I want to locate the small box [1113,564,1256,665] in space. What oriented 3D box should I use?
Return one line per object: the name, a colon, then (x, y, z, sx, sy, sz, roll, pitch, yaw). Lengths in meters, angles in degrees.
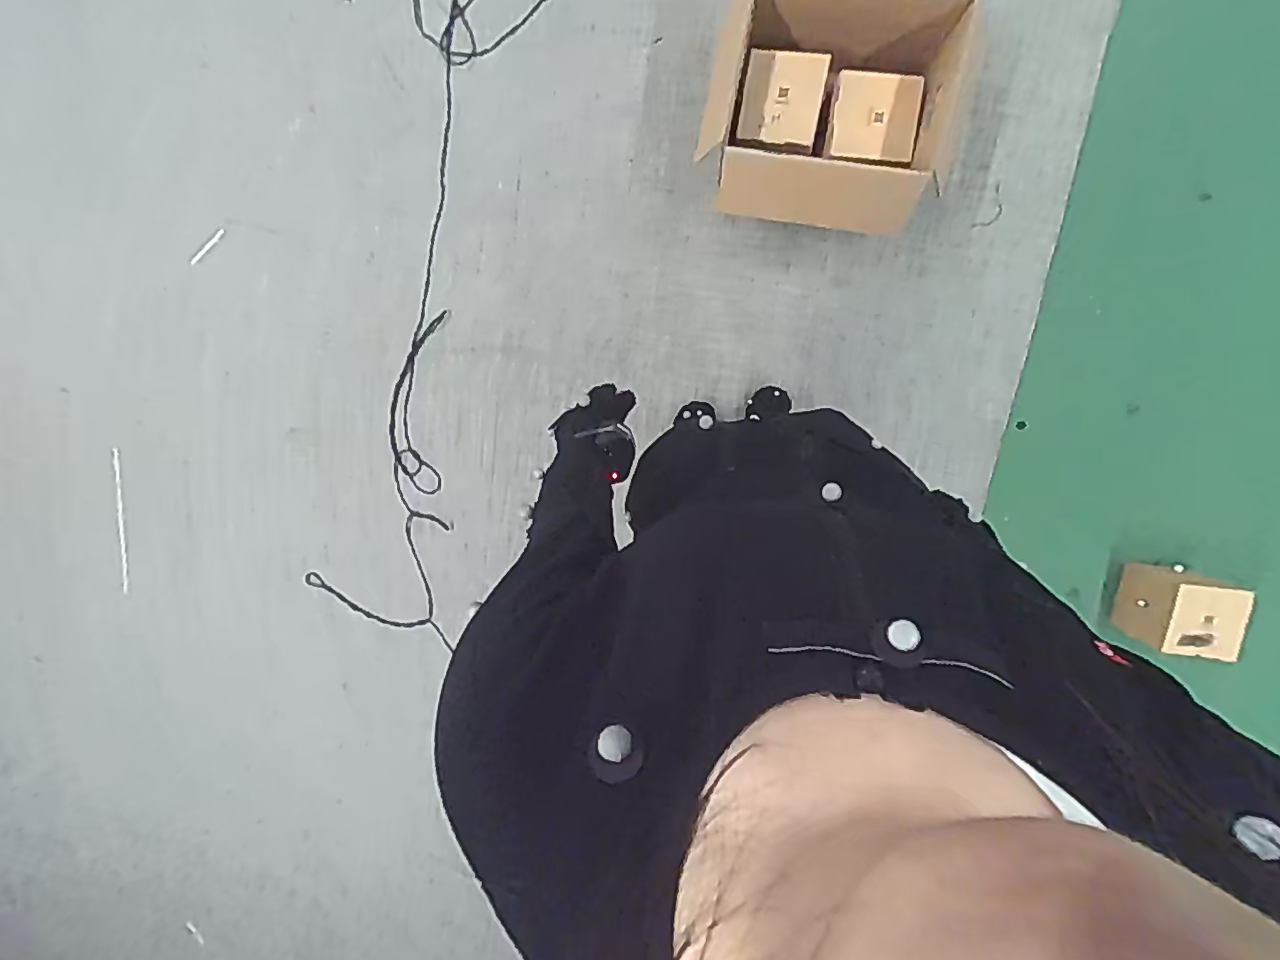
small box: (1.324, 0.324, 1.331, 0.168, 0.176, 0.179, 7, 100, 5)
